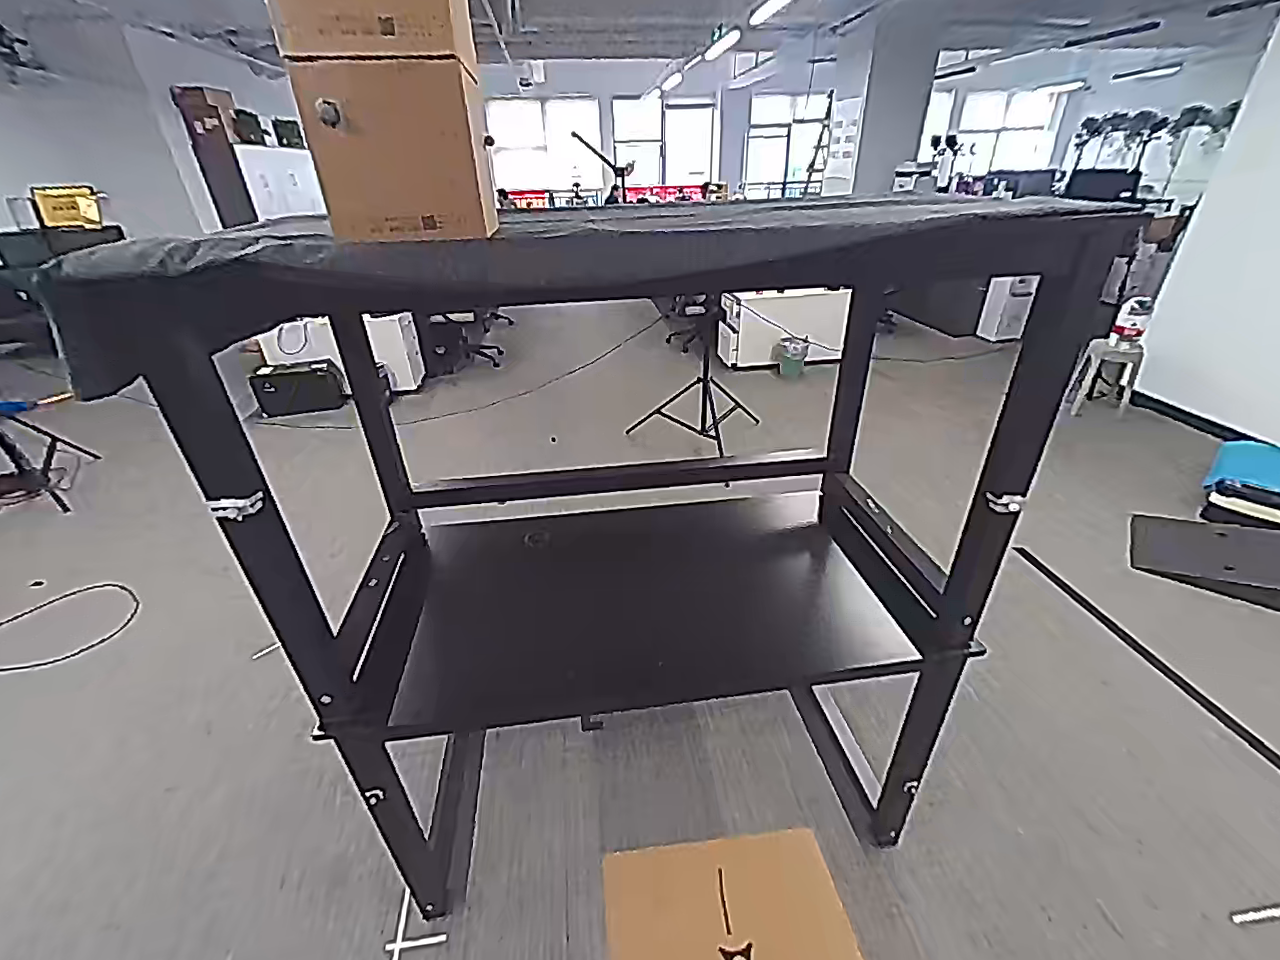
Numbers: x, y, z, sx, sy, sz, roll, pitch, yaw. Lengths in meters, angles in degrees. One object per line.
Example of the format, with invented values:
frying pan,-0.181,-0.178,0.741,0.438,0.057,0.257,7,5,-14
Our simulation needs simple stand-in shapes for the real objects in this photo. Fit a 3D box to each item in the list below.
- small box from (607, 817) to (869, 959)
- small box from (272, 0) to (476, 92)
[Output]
small box,0.066,0.381,0.380,0.168,0.176,0.179,-3,27,-6
small box,-0.275,-0.520,0.559,0.168,0.176,0.179,-5,28,-6
